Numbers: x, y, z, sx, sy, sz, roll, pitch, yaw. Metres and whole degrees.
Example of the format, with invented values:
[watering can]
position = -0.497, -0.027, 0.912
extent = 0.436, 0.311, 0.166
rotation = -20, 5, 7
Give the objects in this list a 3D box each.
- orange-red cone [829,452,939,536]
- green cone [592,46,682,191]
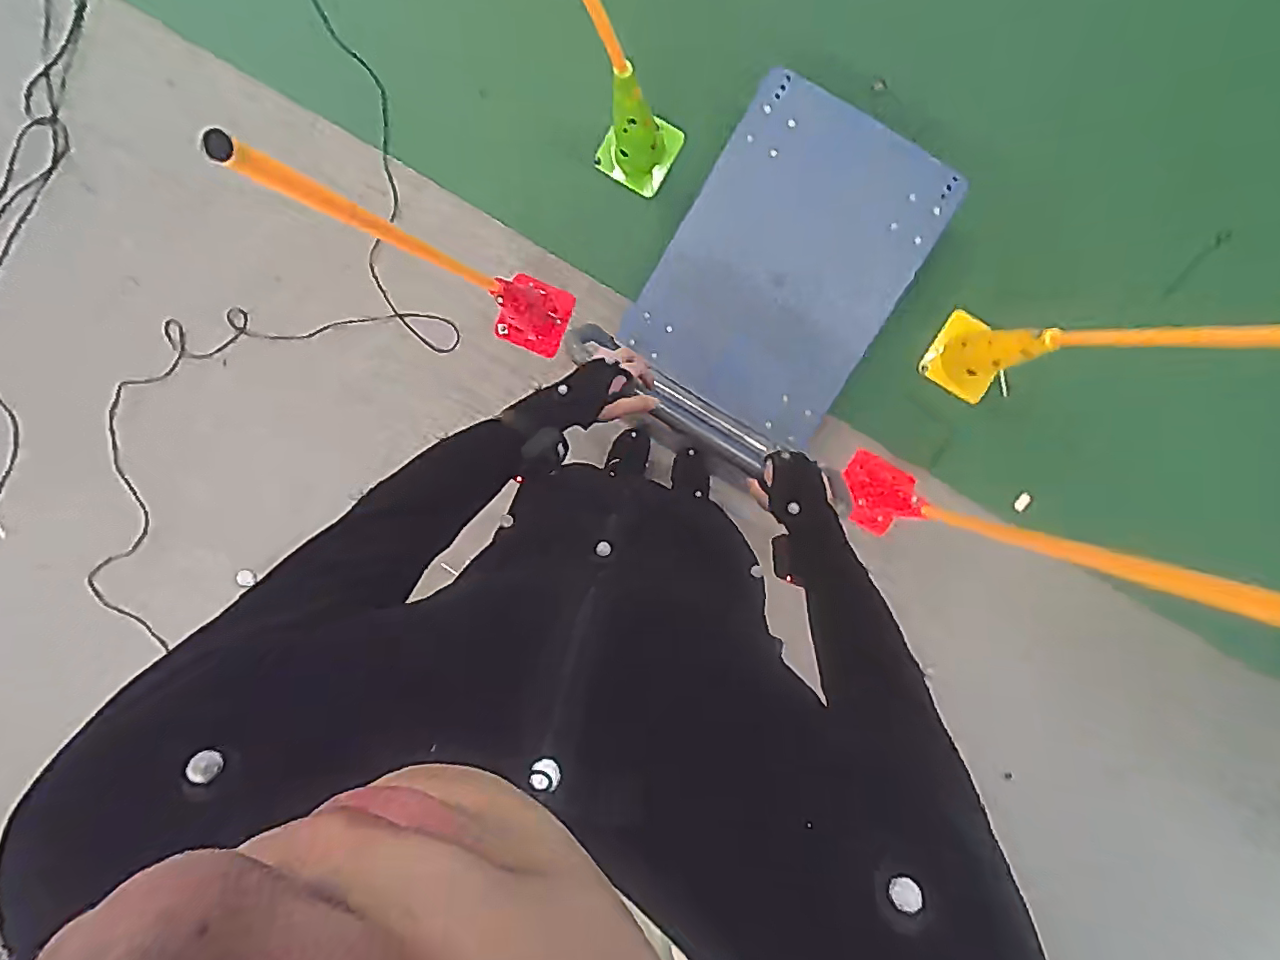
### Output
[orange-red cone]
position = 0.664, 0.056, 1.392
extent = 0.198, 0.360, 0.199
rotation = 31, 95, -1
[green cone]
position = -0.020, -0.917, 1.332
extent = 0.200, 0.368, 0.202
rotation = 31, 96, 1
